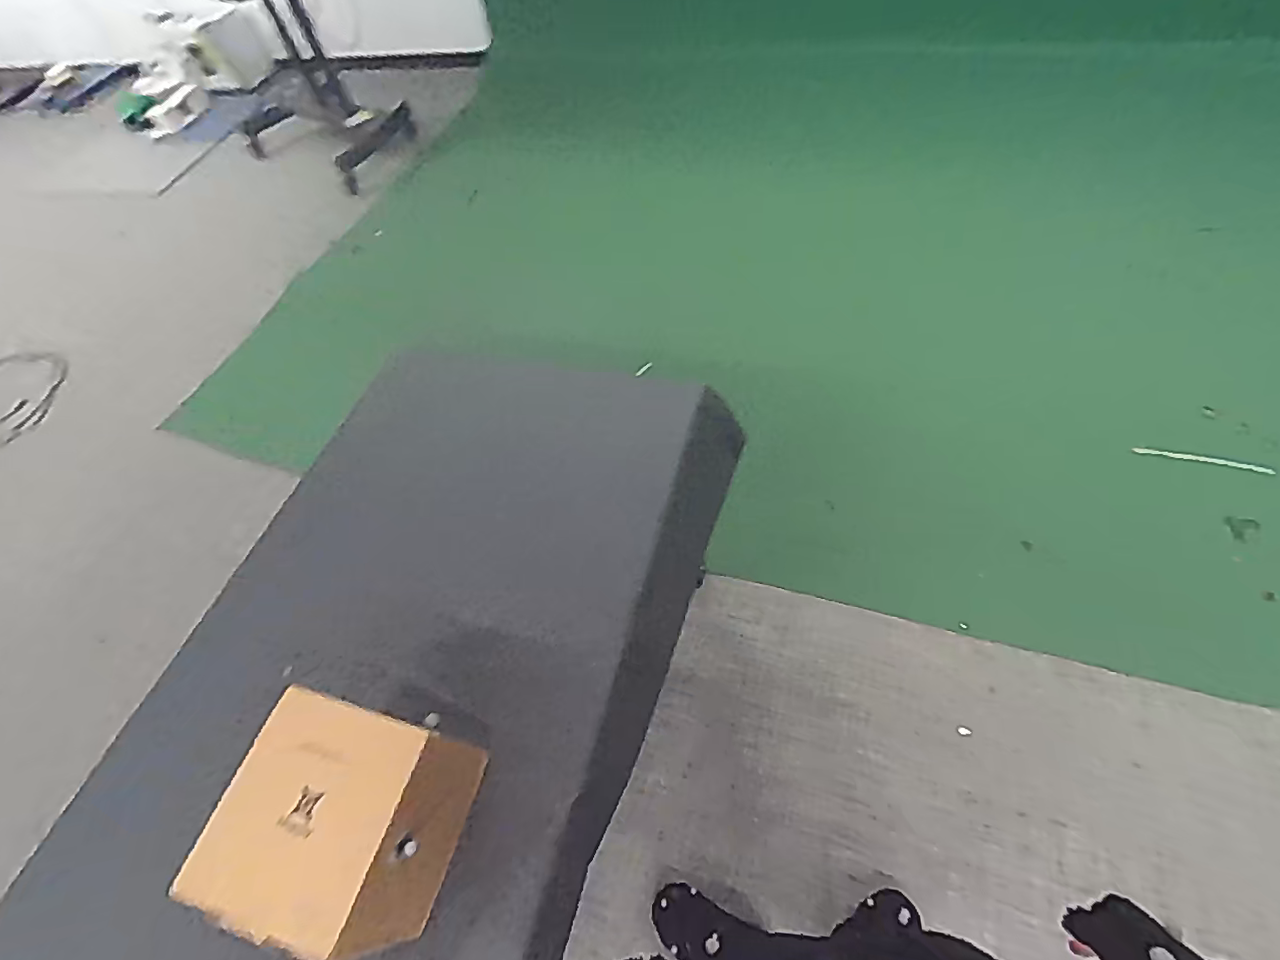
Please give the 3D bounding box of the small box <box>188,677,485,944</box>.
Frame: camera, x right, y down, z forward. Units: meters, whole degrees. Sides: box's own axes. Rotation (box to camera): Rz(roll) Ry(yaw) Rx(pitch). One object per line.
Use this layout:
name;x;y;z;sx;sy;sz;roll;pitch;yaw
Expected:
small box;-0.286;0.330;0.559;0.168;0.176;0.179;10;59;14
